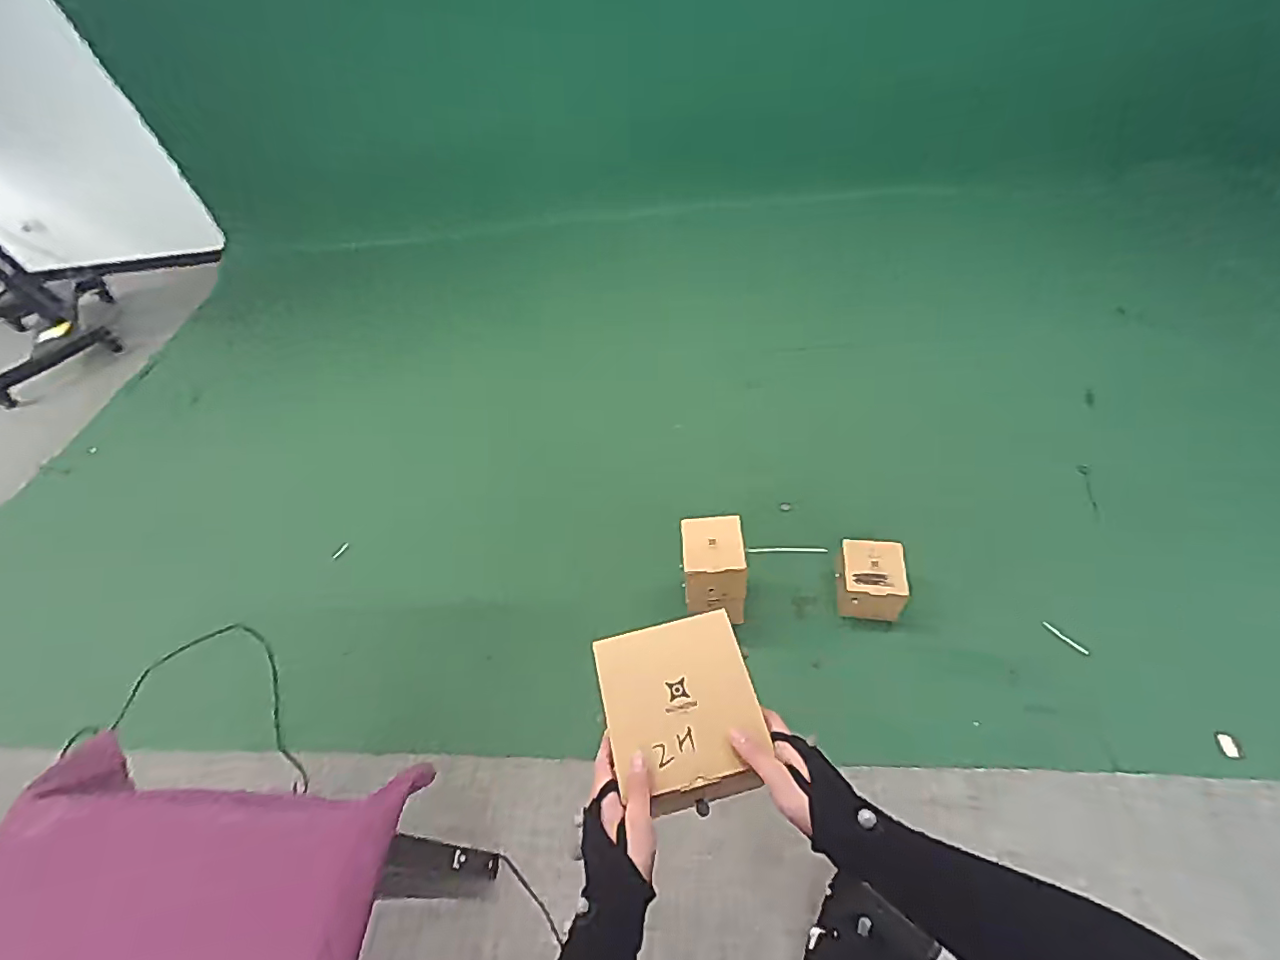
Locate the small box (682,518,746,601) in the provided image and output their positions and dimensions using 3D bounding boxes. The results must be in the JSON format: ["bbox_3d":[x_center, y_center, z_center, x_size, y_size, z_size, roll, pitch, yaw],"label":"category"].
[{"bbox_3d":[0.207,0.228,1.547,0.168,0.176,0.179,-4,52,5],"label":"small box"}]

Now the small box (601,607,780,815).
[{"bbox_3d":[0.053,0.283,0.656,0.168,0.176,0.179,-12,53,-3],"label":"small box"}]

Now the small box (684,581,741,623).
[{"bbox_3d":[0.224,0.336,1.668,0.168,0.176,0.179,-4,50,6],"label":"small box"}]
